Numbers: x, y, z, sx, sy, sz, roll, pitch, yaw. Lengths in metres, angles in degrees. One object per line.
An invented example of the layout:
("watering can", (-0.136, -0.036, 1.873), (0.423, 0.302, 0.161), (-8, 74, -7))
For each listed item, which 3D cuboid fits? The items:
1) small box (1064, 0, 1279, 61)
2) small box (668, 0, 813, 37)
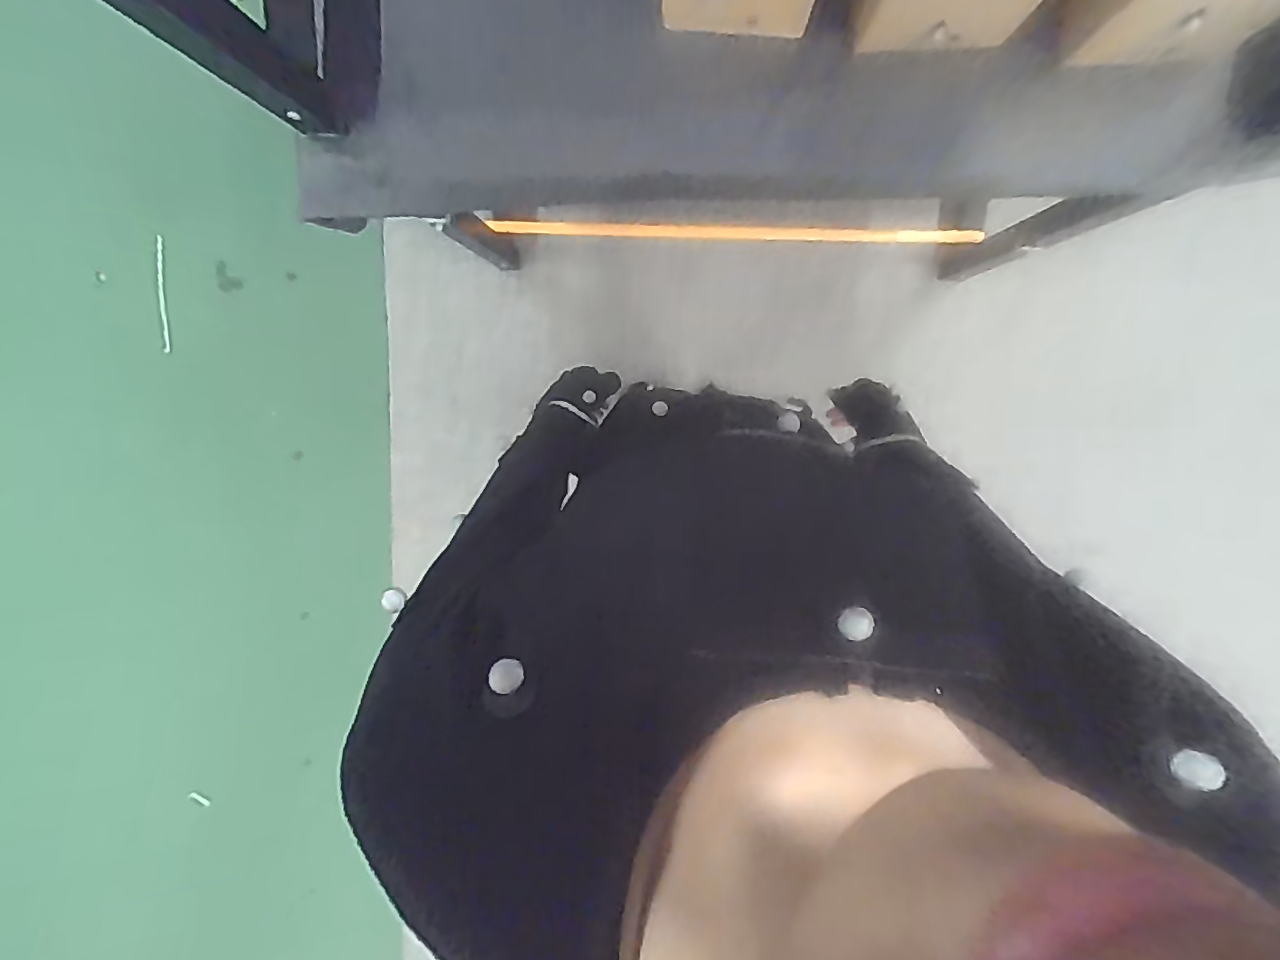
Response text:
("small box", (0.559, -0.546, 0.526), (0.168, 0.176, 0.179), (2, 99, 4))
("small box", (0.116, -0.604, 0.557), (0.168, 0.176, 0.179), (7, 100, 4))
